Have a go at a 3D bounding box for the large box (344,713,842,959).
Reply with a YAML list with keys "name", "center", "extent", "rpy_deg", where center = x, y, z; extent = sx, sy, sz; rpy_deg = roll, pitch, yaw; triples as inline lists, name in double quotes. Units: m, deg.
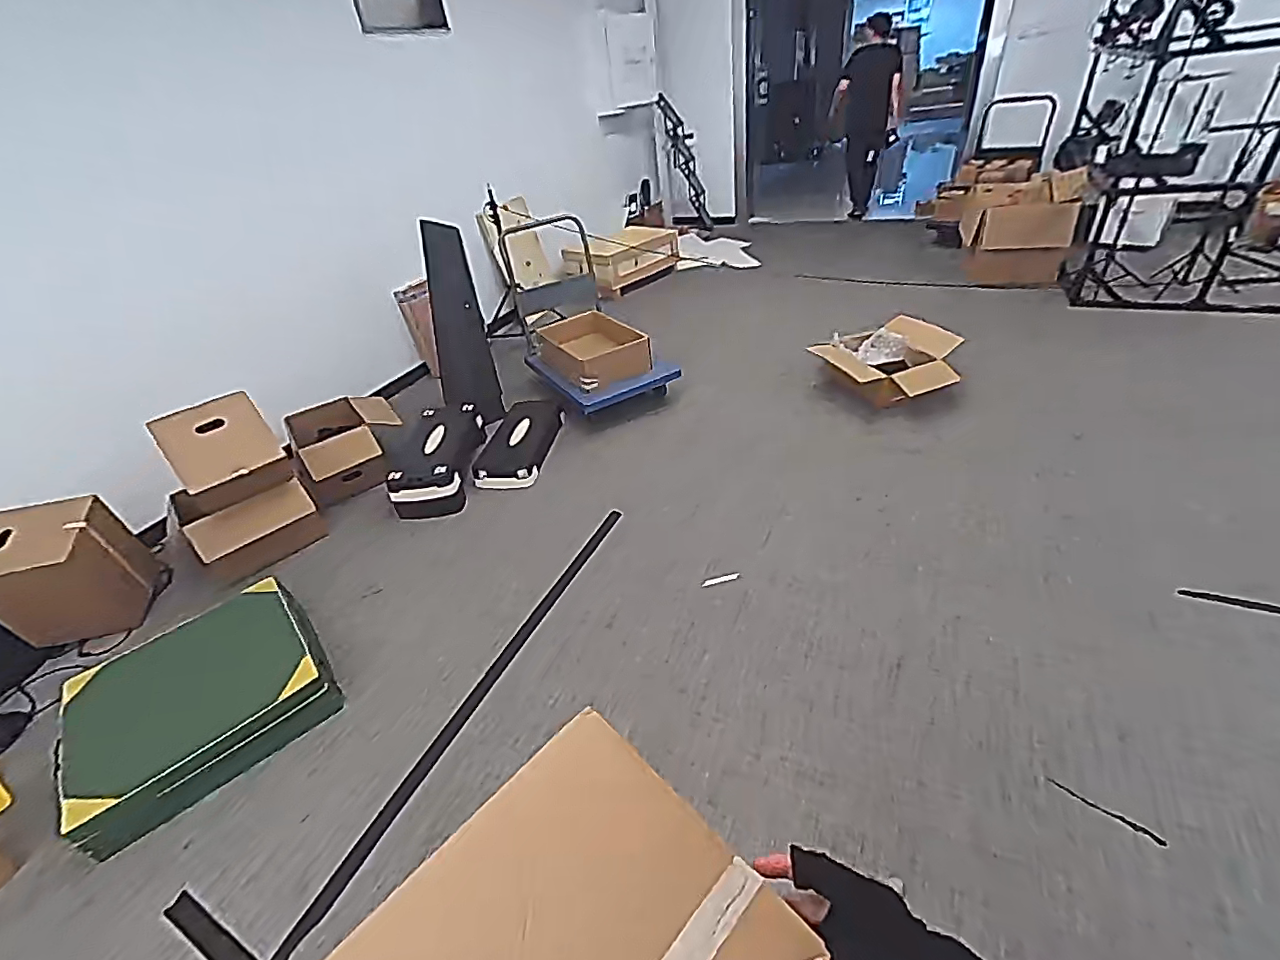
- name: "large box"
  center: [-0.059, 0.467, 0.365]
  extent: [0.320, 0.320, 0.408]
  rpy_deg: [34, 56, 30]
